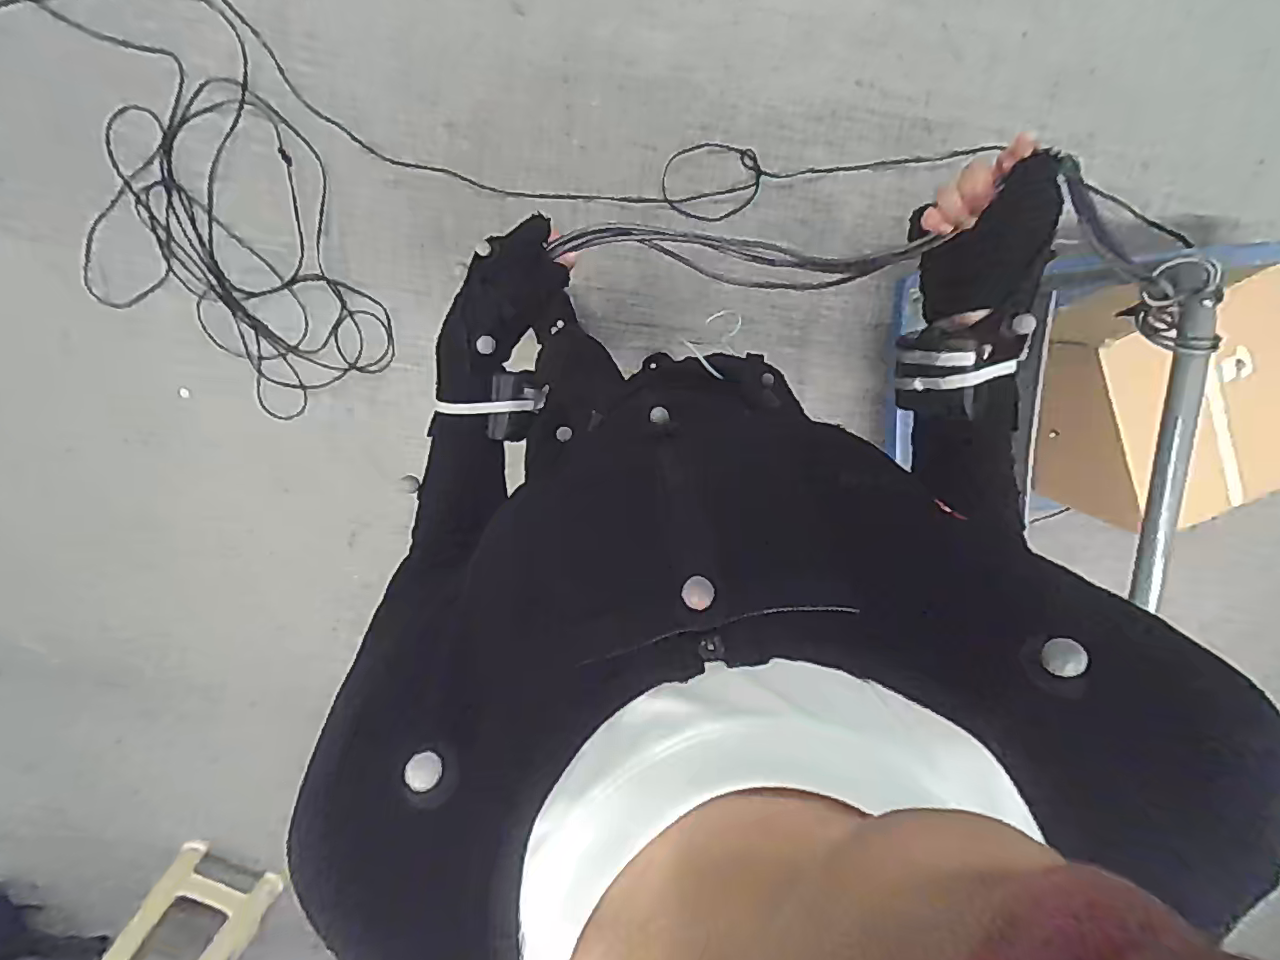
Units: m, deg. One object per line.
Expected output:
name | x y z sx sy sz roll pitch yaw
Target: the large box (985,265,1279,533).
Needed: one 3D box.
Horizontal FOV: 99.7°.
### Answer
large box | 1.004 -0.167 1.117 0.320 0.320 0.408 -26 103 6
